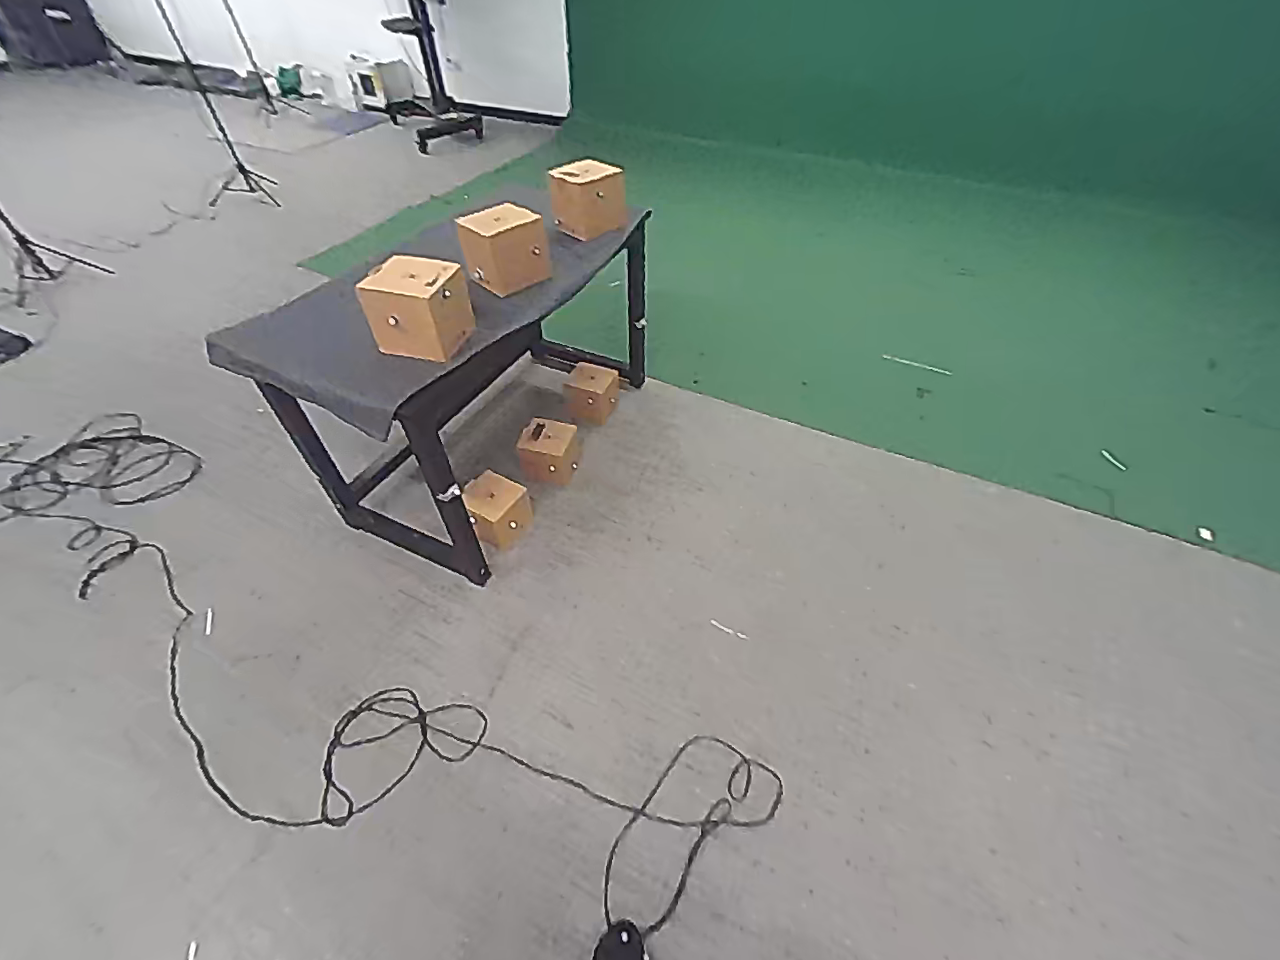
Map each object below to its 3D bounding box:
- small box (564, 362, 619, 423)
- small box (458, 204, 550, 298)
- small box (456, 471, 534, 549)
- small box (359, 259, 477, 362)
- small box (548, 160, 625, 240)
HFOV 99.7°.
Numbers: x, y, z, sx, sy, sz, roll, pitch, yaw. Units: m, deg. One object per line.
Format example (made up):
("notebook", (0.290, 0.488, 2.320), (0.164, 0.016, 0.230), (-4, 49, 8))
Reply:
("small box", (-0.193, -0.355, 2.220), (0.179, 0.176, 0.168), (16, 49, 14))
("small box", (-0.364, -0.629, 1.487), (0.179, 0.176, 0.168), (-36, 54, -27))
("small box", (-0.475, 0.105, 1.806), (0.179, 0.176, 0.168), (23, 52, 20))
("small box", (-0.512, -0.397, 1.274), (0.179, 0.176, 0.168), (10, 49, 9))
("small box", (-0.162, -0.884, 1.712), (0.179, 0.176, 0.168), (-35, 54, -26))
